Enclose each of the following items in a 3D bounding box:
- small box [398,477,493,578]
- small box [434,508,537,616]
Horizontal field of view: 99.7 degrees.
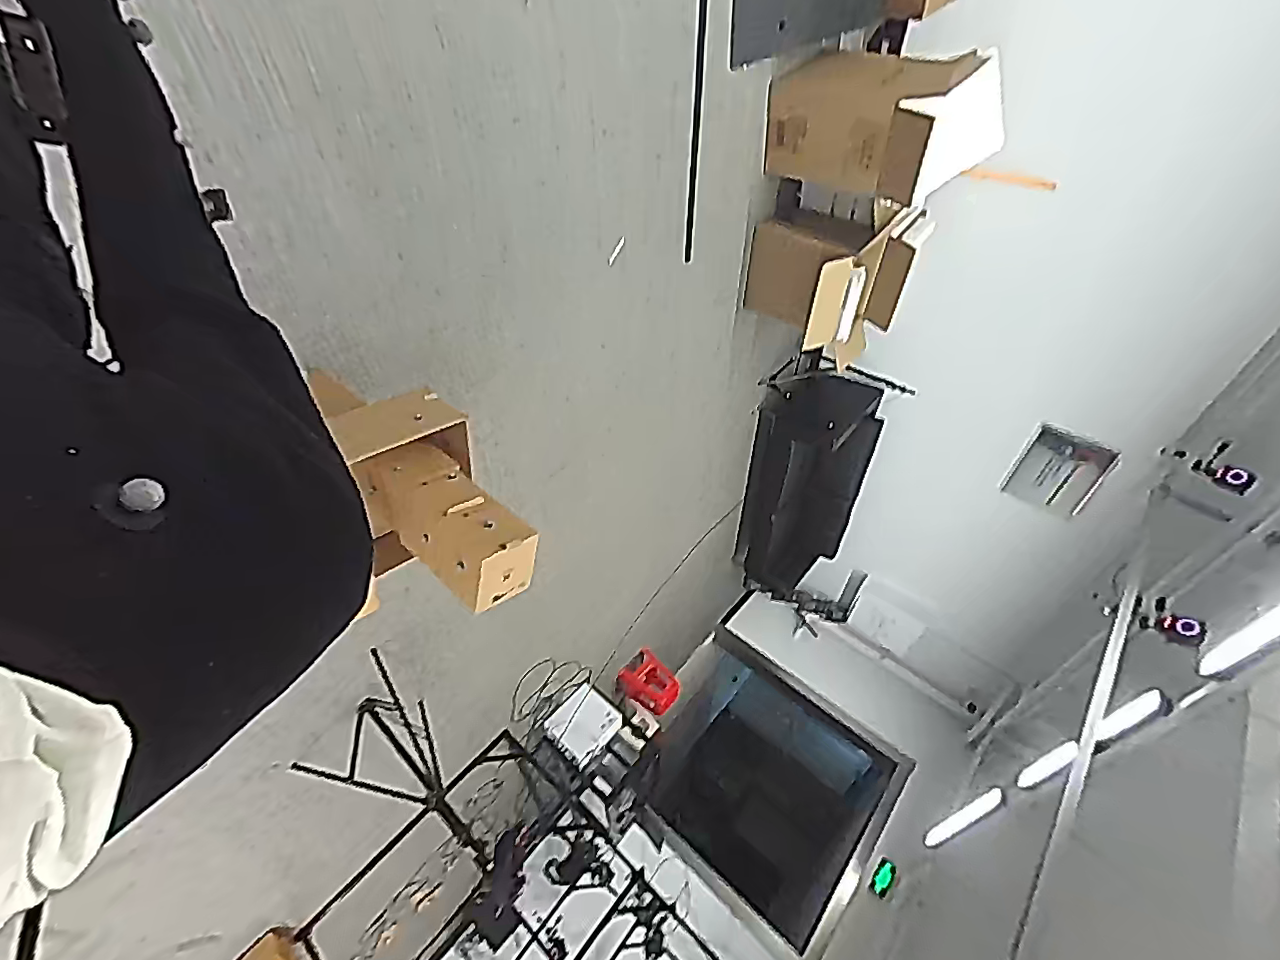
[{"bbox_3d":[-0.494,0.109,1.371,0.168,0.176,0.179,-26,139,-45],"label":"small box"},{"bbox_3d":[-0.371,0.183,1.290,0.168,0.176,0.179,-21,135,-48],"label":"small box"}]
